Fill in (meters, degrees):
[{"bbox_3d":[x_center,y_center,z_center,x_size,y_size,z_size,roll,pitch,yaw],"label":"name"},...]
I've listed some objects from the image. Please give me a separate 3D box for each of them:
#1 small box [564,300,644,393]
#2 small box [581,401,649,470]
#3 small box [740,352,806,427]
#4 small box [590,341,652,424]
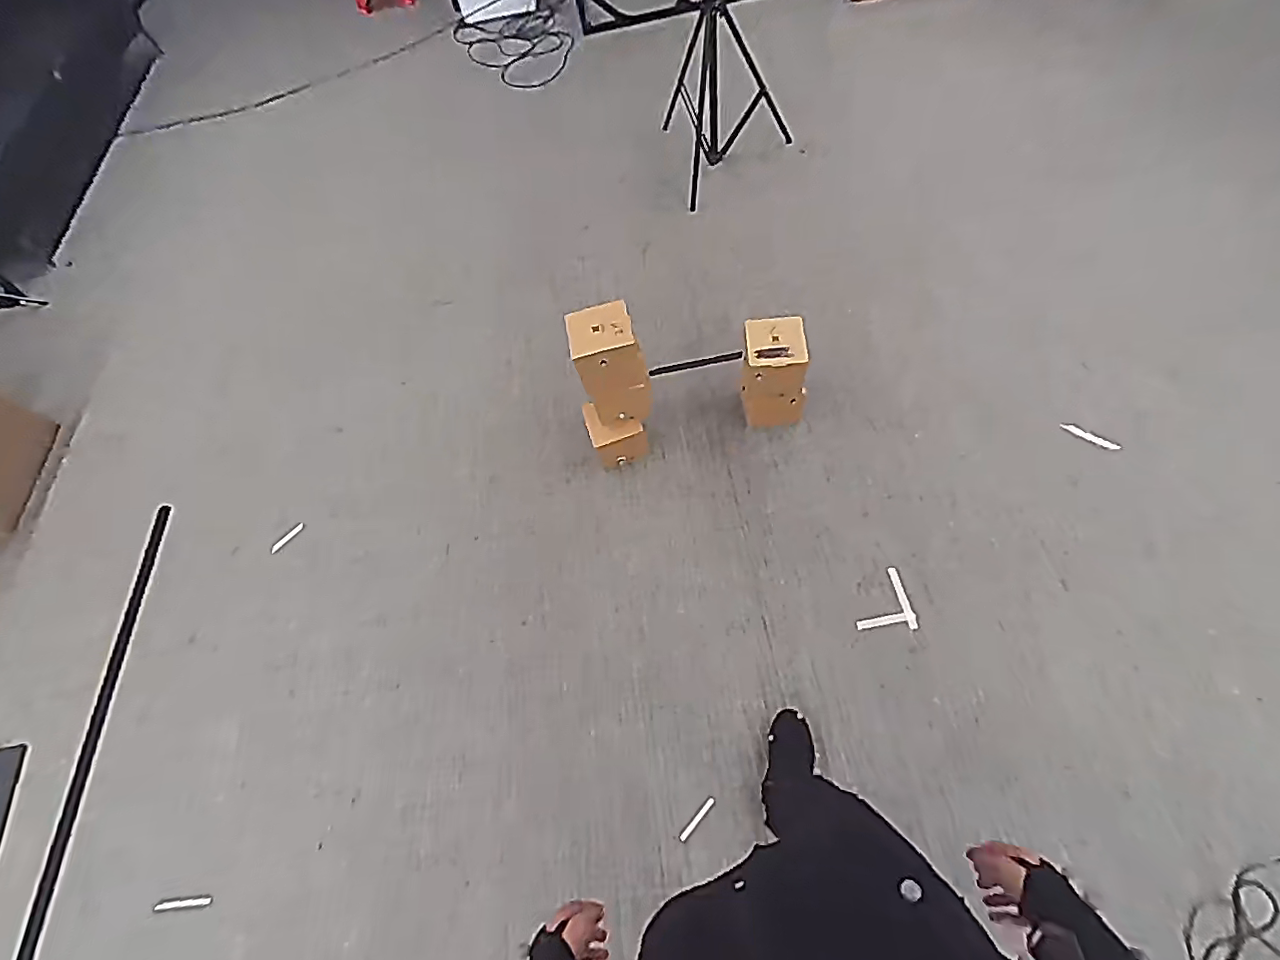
[{"bbox_3d":[-0.099,-0.365,1.508,0.179,0.176,0.168,-13,62,3],"label":"small box"},{"bbox_3d":[-0.080,-0.160,1.772,0.168,0.176,0.179,-20,62,-1],"label":"small box"},{"bbox_3d":[0.424,-0.287,1.756,0.179,0.176,0.168,-9,63,4],"label":"small box"},{"bbox_3d":[-0.059,-0.294,1.651,0.168,0.176,0.179,-7,63,7],"label":"small box"}]
